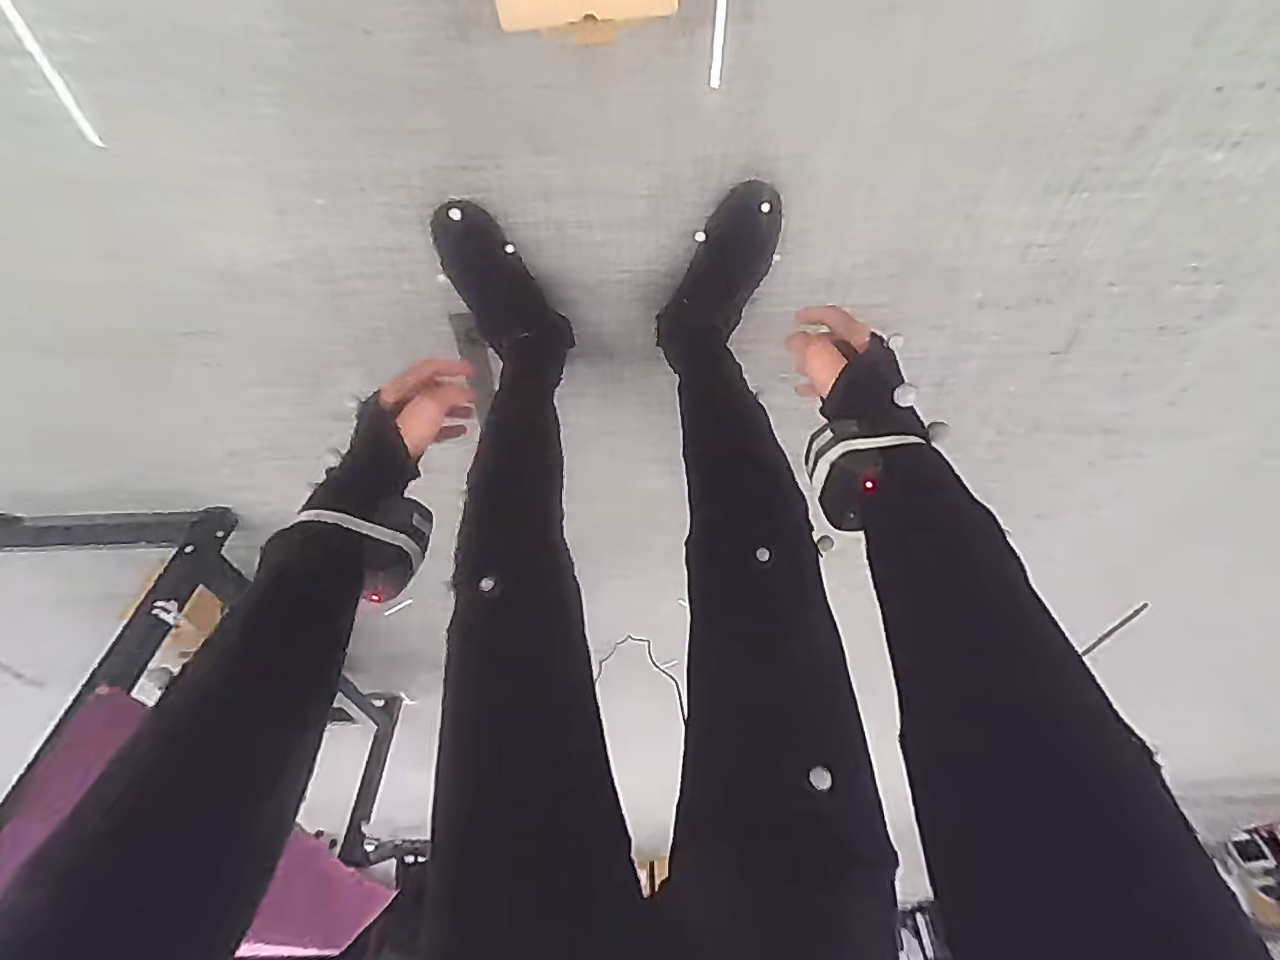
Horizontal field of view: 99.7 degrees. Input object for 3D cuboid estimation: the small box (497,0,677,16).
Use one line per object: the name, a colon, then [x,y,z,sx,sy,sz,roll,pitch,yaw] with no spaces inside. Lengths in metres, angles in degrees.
small box: [-0.053,-0.545,0.482,0.168,0.176,0.179,-3,139,2]
